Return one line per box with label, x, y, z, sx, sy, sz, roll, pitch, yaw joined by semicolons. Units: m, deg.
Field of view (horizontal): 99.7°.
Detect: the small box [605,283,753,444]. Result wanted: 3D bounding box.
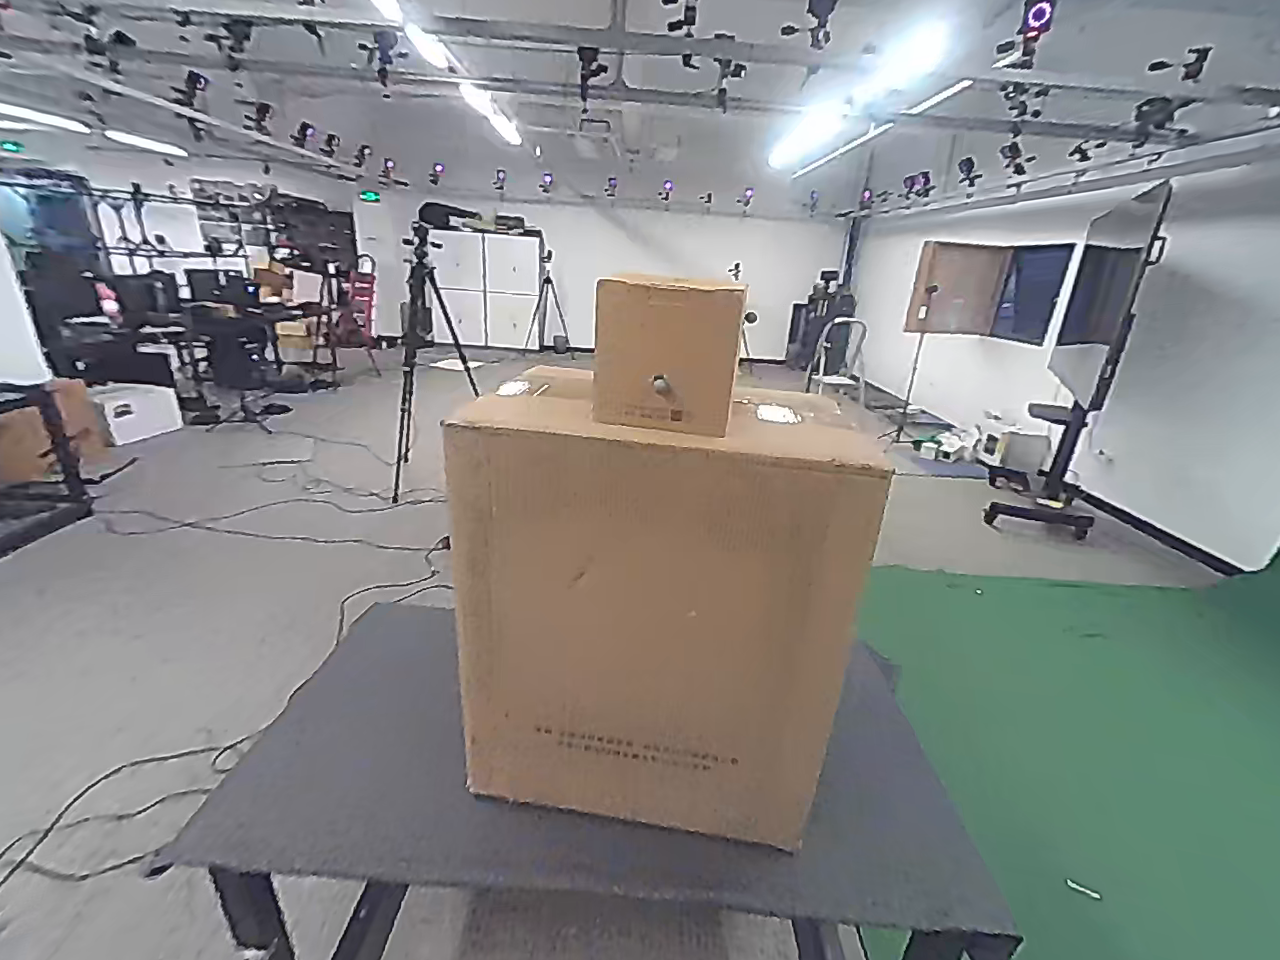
small box;0.052;-0.160;0.712;0.168;0.176;0.179;8;24;9
